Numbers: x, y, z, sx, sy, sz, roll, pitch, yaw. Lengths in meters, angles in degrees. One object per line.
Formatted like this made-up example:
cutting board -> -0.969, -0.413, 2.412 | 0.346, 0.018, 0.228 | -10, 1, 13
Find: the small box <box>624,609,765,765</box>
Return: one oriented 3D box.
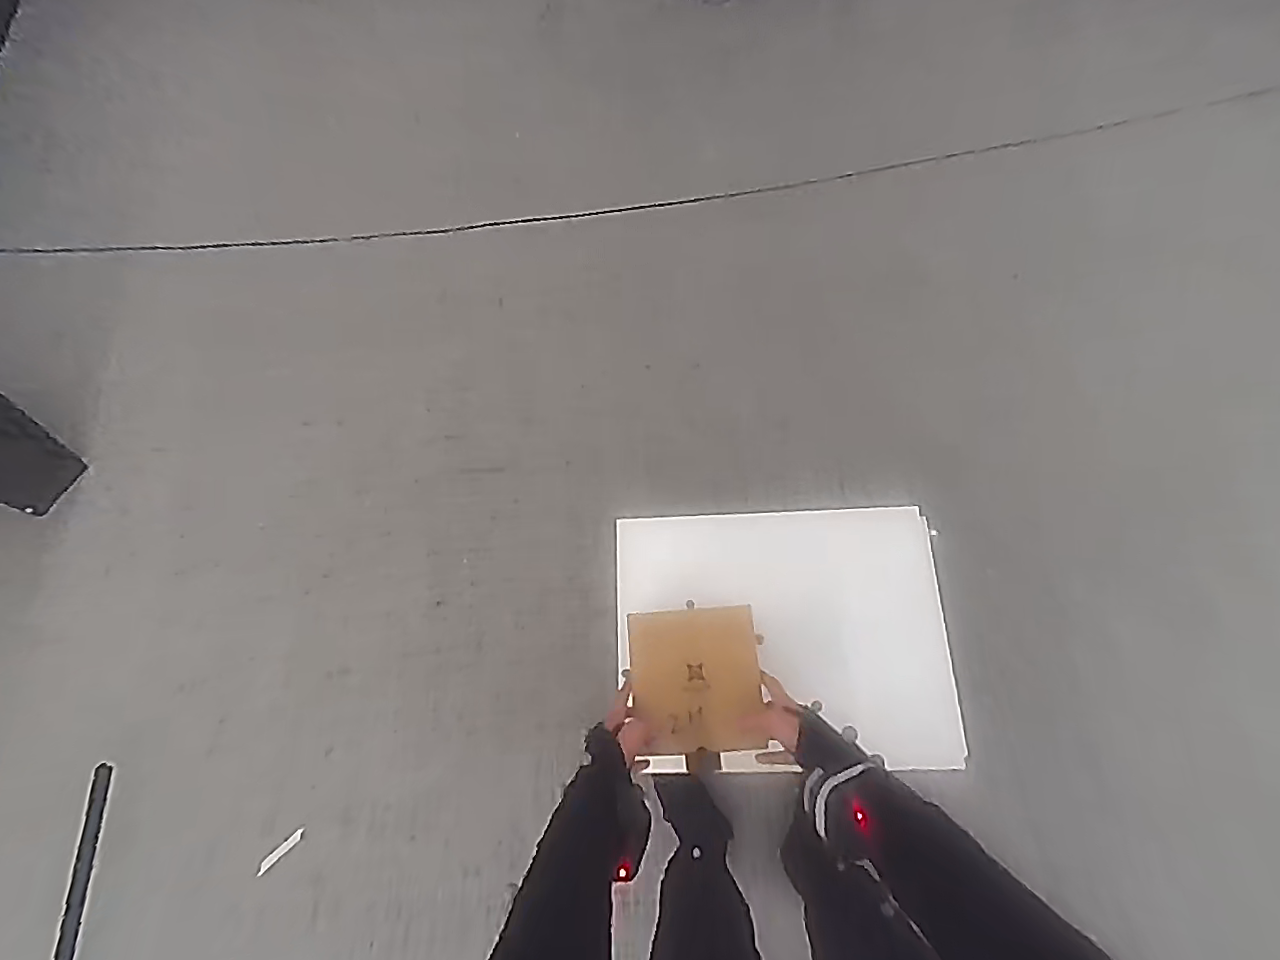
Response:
small box -> 0.070, 0.279, 0.753 | 0.168, 0.176, 0.179 | -6, 75, 3
